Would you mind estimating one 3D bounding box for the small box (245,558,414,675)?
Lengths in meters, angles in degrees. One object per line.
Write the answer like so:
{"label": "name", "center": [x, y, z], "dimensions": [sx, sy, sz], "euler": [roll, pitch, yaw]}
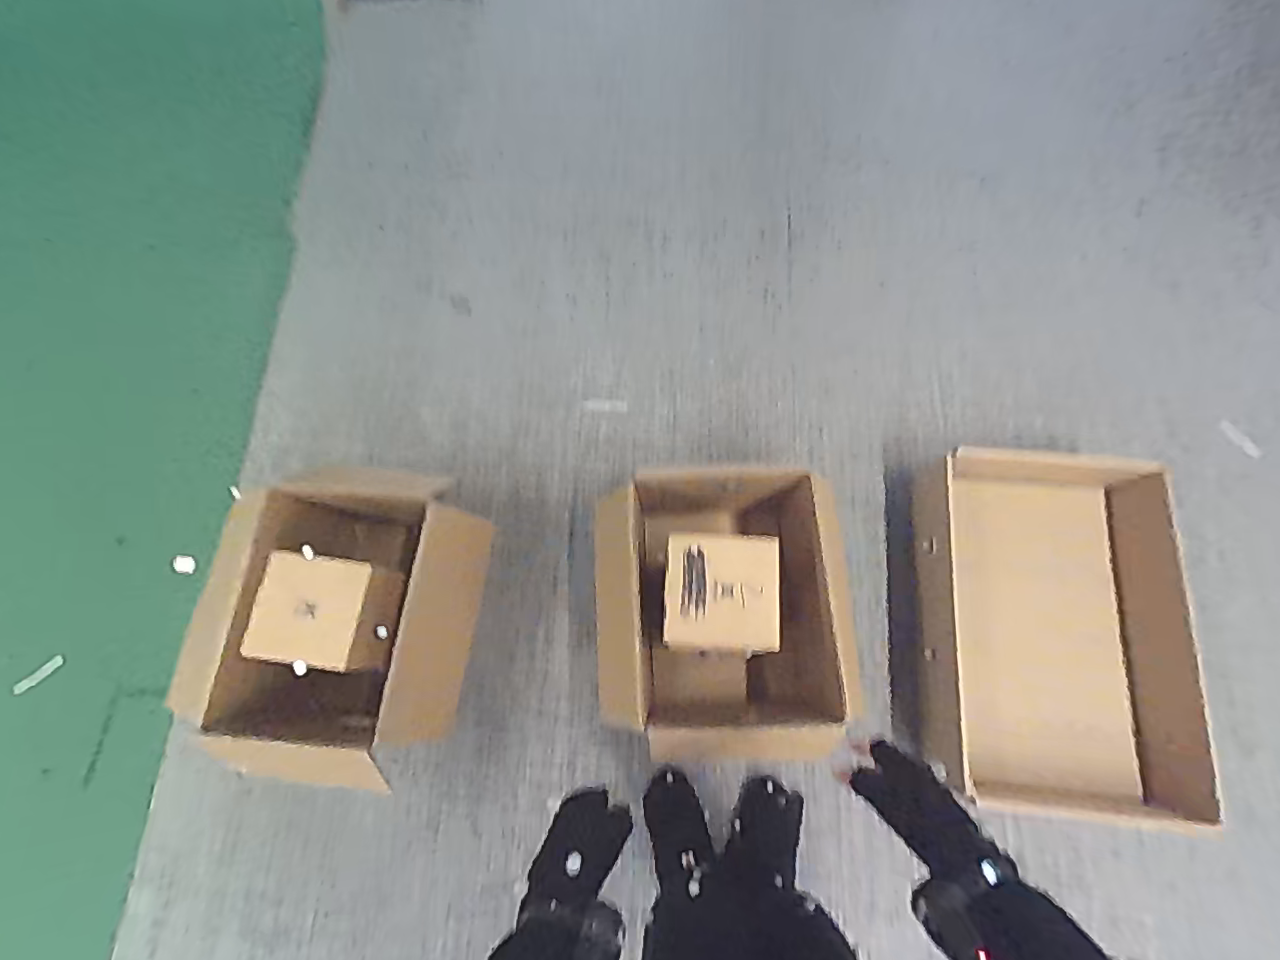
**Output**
{"label": "small box", "center": [-0.525, 0.239, 0.944], "dimensions": [0.179, 0.176, 0.168], "euler": [7, 73, 4]}
